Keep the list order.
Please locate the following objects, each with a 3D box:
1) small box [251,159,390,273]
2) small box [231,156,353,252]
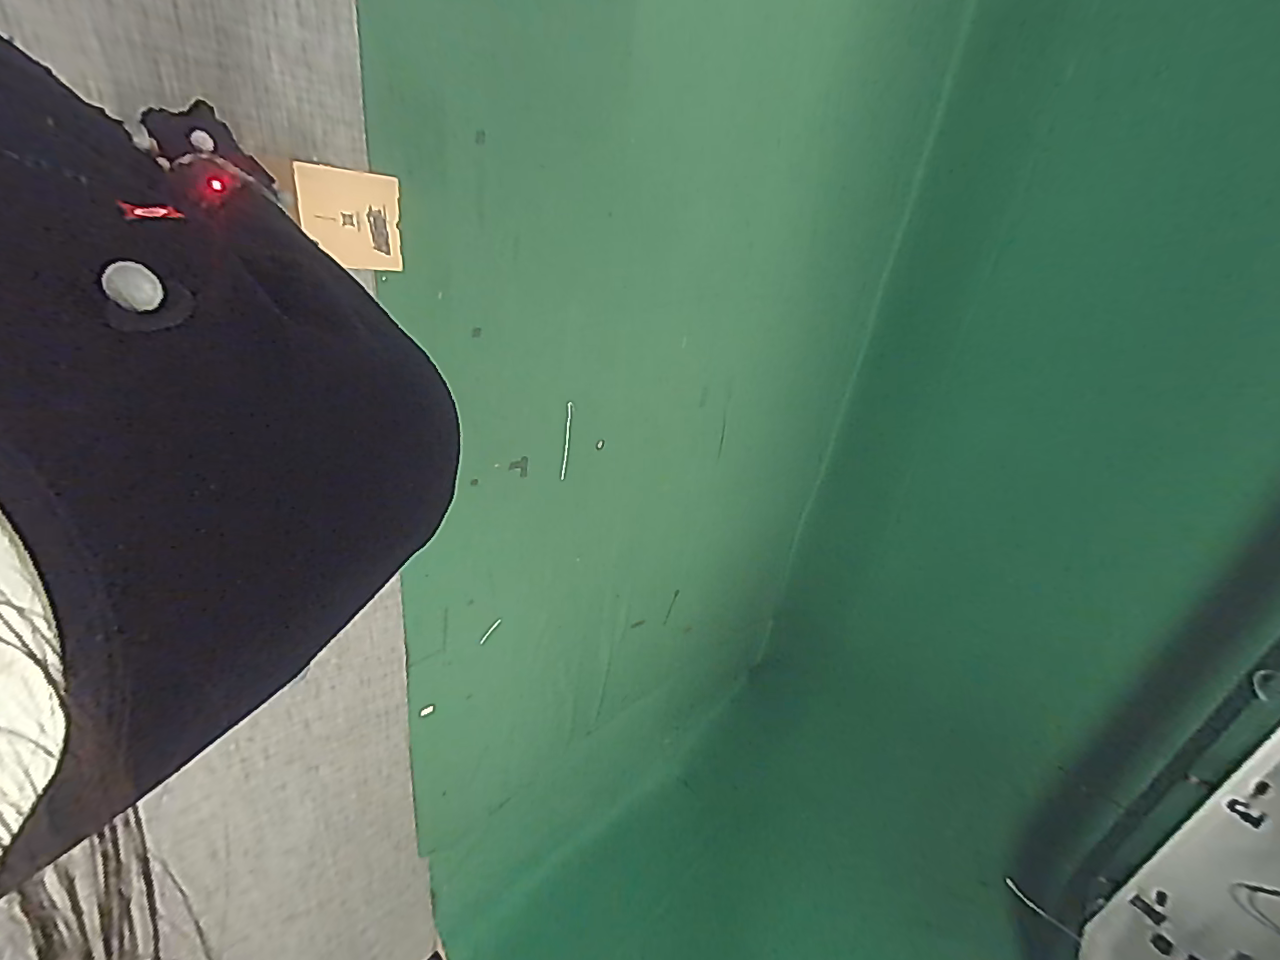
[{"bbox_3d":[-0.594,-0.492,1.012,0.179,0.176,0.168,-17,125,-44],"label":"small box"},{"bbox_3d":[-0.704,-0.561,1.114,0.179,0.176,0.168,-19,126,-42],"label":"small box"}]
